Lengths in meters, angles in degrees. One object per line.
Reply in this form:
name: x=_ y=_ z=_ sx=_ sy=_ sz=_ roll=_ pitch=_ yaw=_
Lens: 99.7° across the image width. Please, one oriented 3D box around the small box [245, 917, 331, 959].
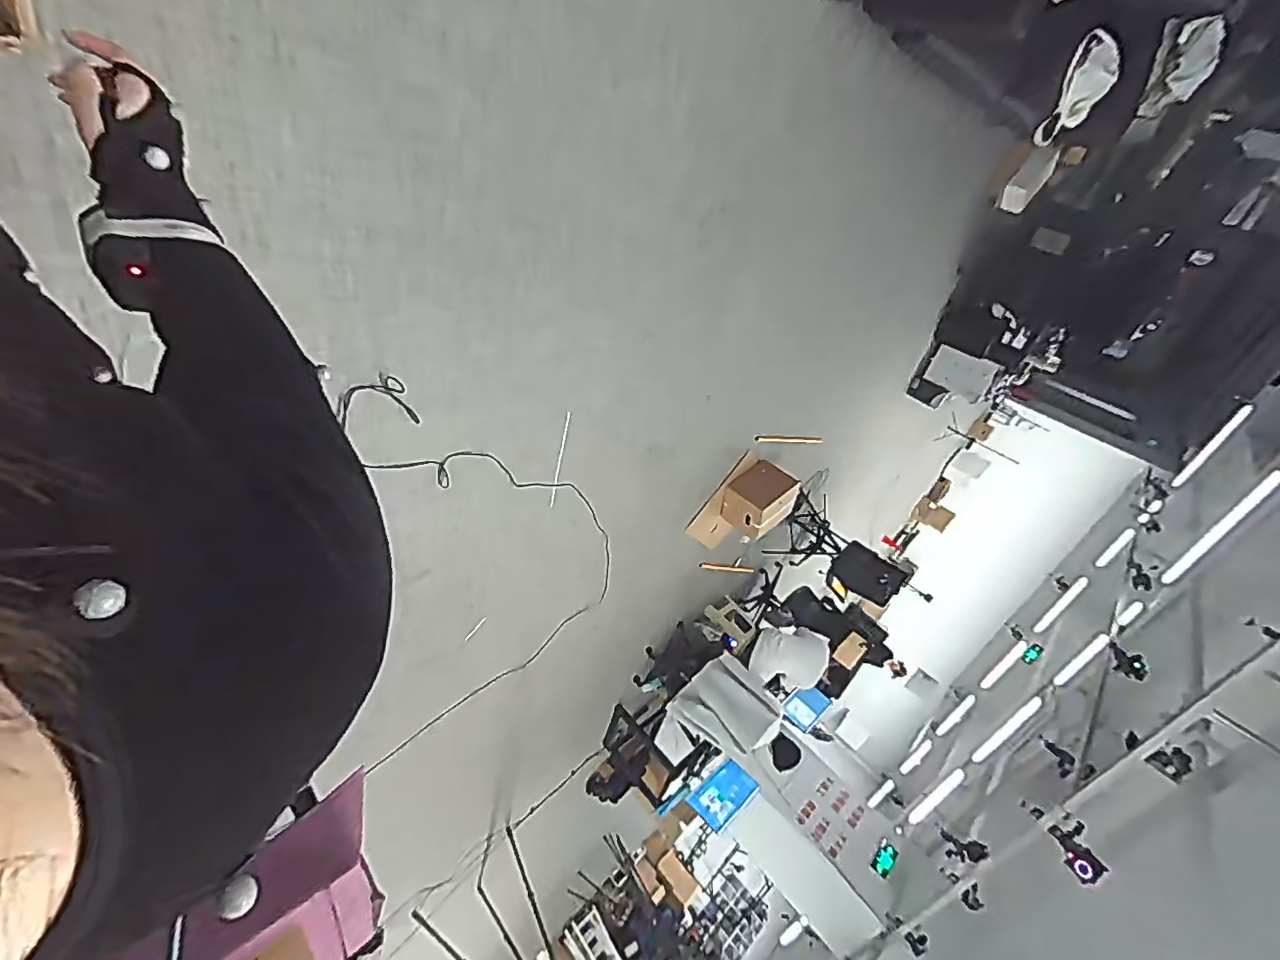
small box: x=-0.885 y=1.262 z=1.366 sx=0.168 sy=0.176 sz=0.179 roll=-18 pitch=137 yaw=-42
